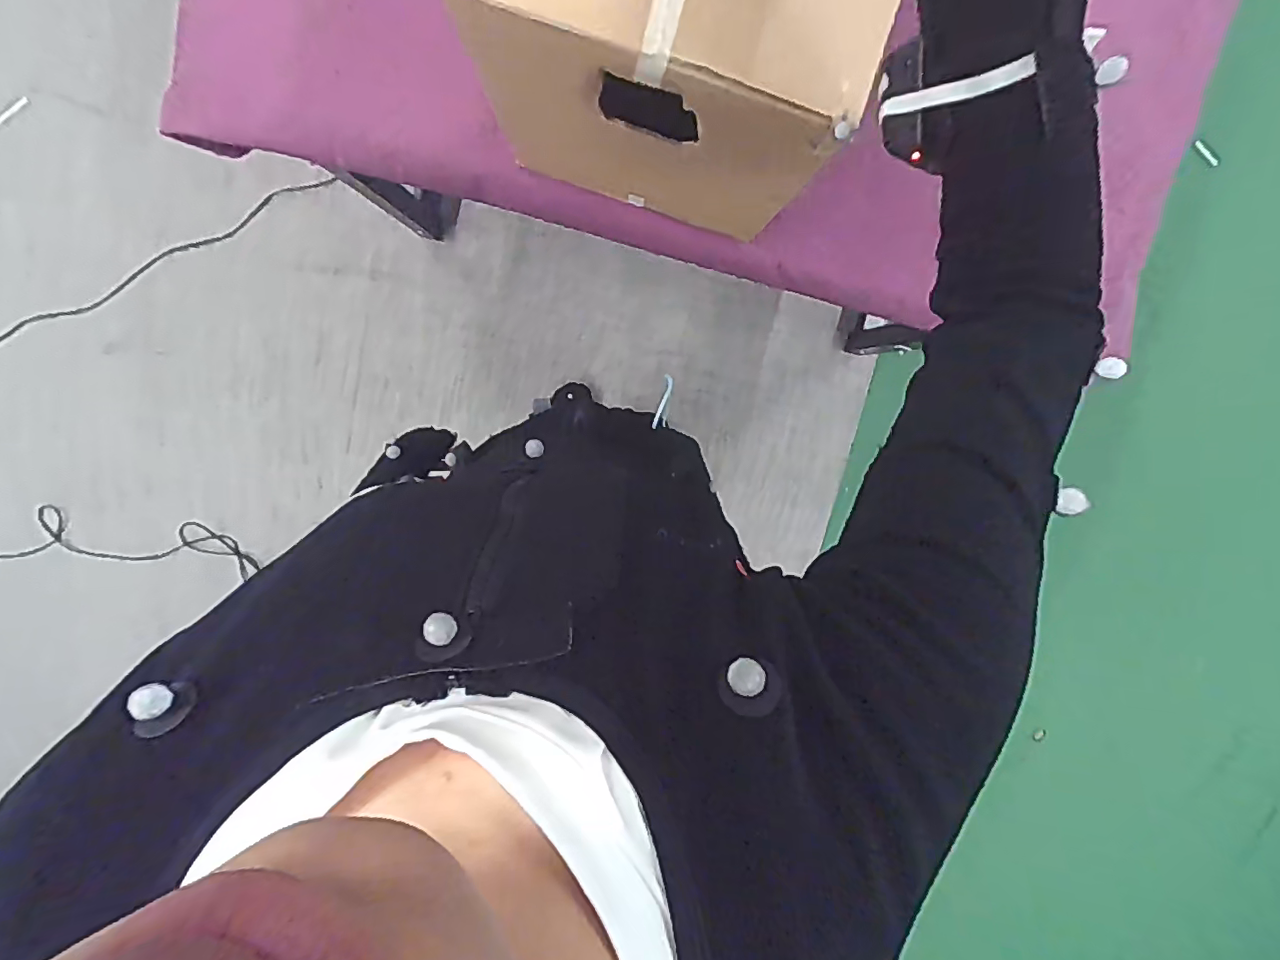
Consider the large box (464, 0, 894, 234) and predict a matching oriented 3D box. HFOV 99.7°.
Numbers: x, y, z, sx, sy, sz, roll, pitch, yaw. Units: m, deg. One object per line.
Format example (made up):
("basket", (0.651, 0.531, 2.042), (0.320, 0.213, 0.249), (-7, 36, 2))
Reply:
("large box", (0.062, -0.519, 0.517), (0.320, 0.320, 0.408), (16, 100, -5))
